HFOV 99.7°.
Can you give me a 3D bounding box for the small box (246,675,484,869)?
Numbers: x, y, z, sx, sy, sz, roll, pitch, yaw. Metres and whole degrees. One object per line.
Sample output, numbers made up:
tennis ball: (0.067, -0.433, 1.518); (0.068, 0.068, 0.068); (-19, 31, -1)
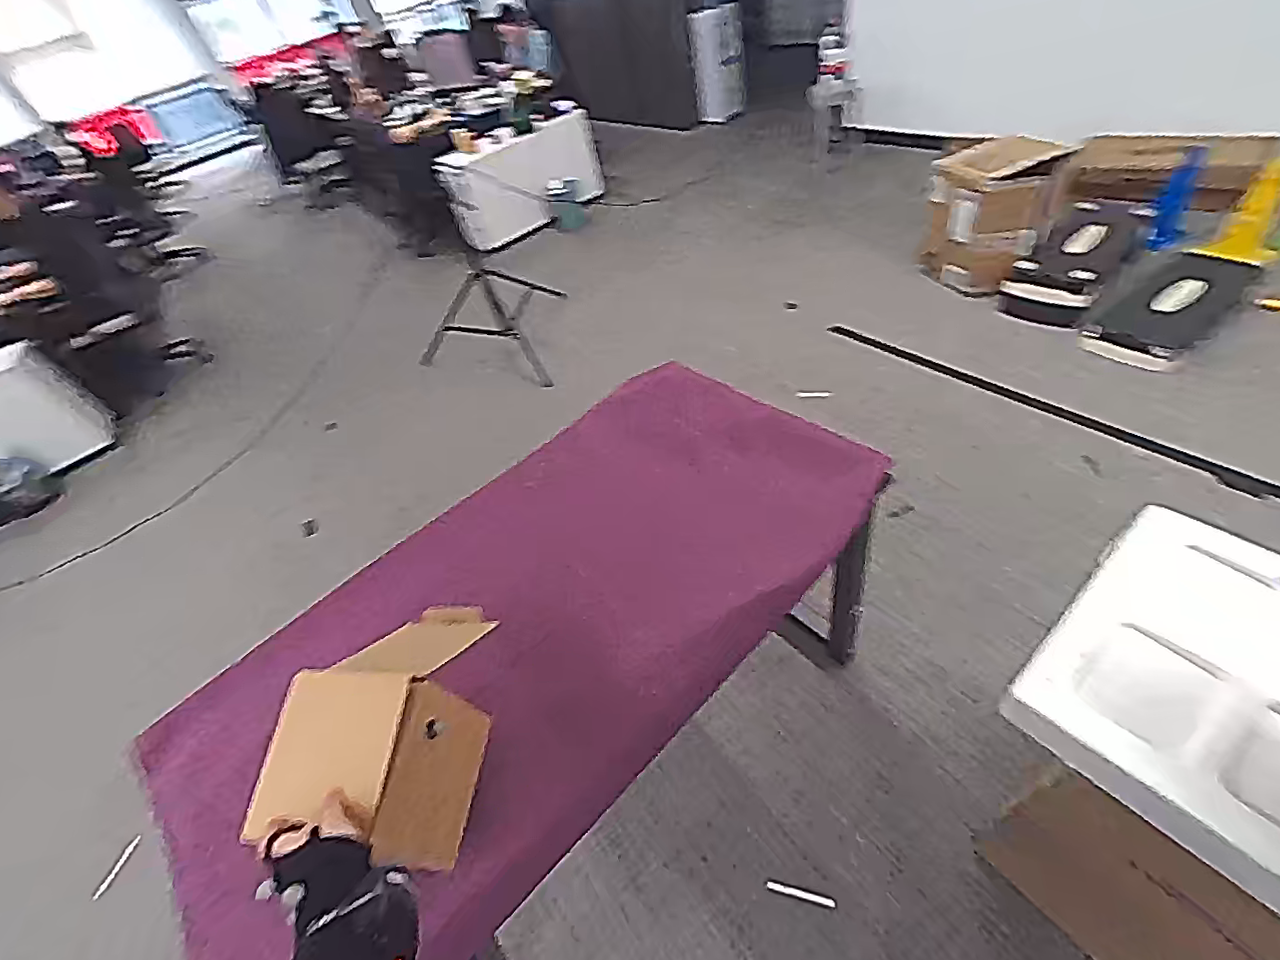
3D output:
small box: (-0.317, 0.359, 0.670); (0.168, 0.176, 0.179); (-6, 49, 17)
